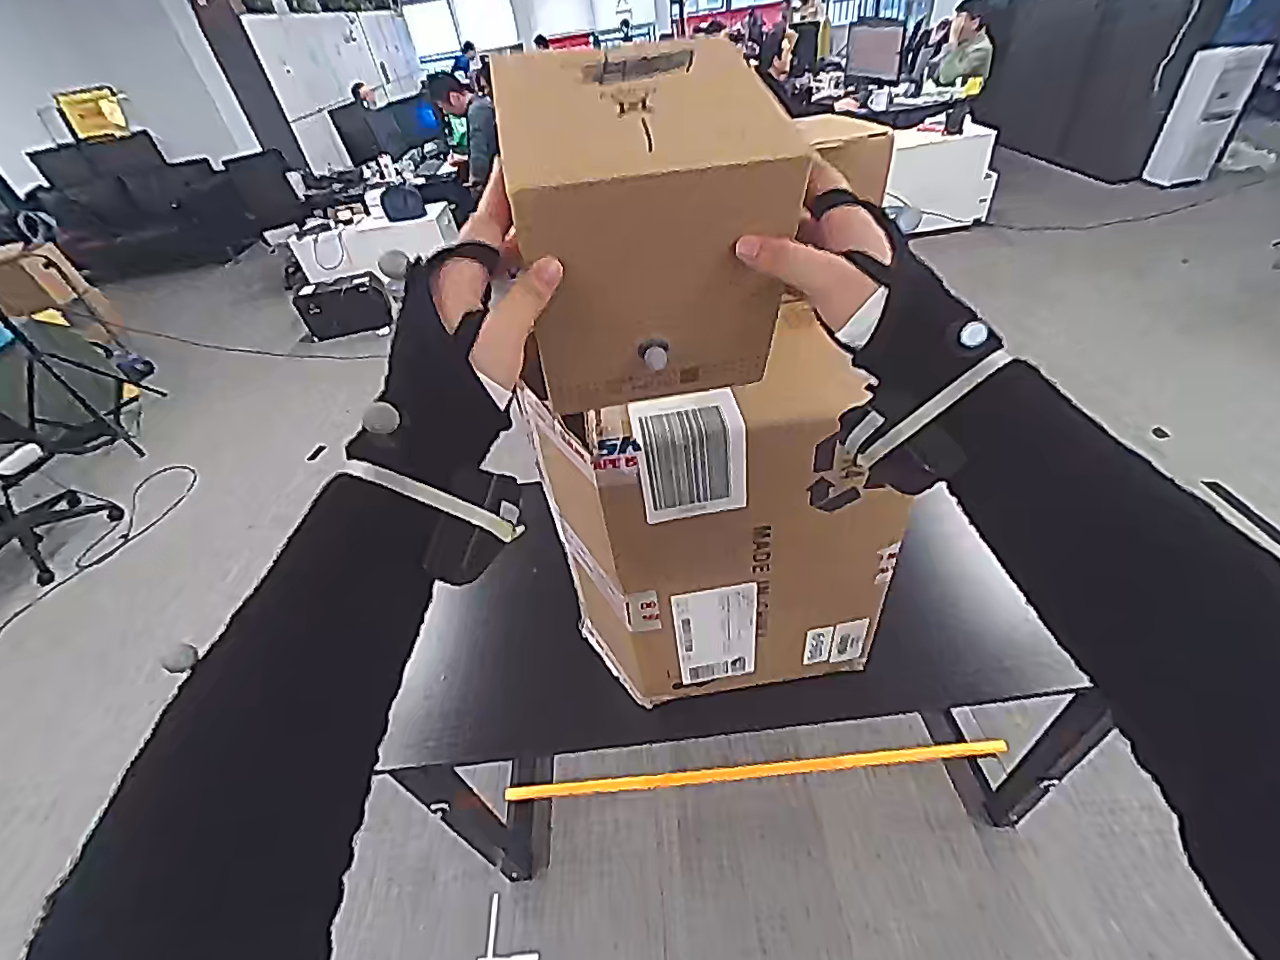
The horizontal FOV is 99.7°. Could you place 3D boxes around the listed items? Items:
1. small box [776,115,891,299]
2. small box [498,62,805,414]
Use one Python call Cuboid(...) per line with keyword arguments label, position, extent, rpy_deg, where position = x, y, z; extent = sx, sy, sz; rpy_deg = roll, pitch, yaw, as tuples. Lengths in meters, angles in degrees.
Cuboid(label="small box", position=(0.182, -0.337, 0.678), extent=(0.168, 0.176, 0.179), rpy_deg=(-8, 41, -3))
Cuboid(label="small box", position=(-0.003, -0.175, 0.400), extent=(0.168, 0.176, 0.179), rpy_deg=(-10, 54, -5))
